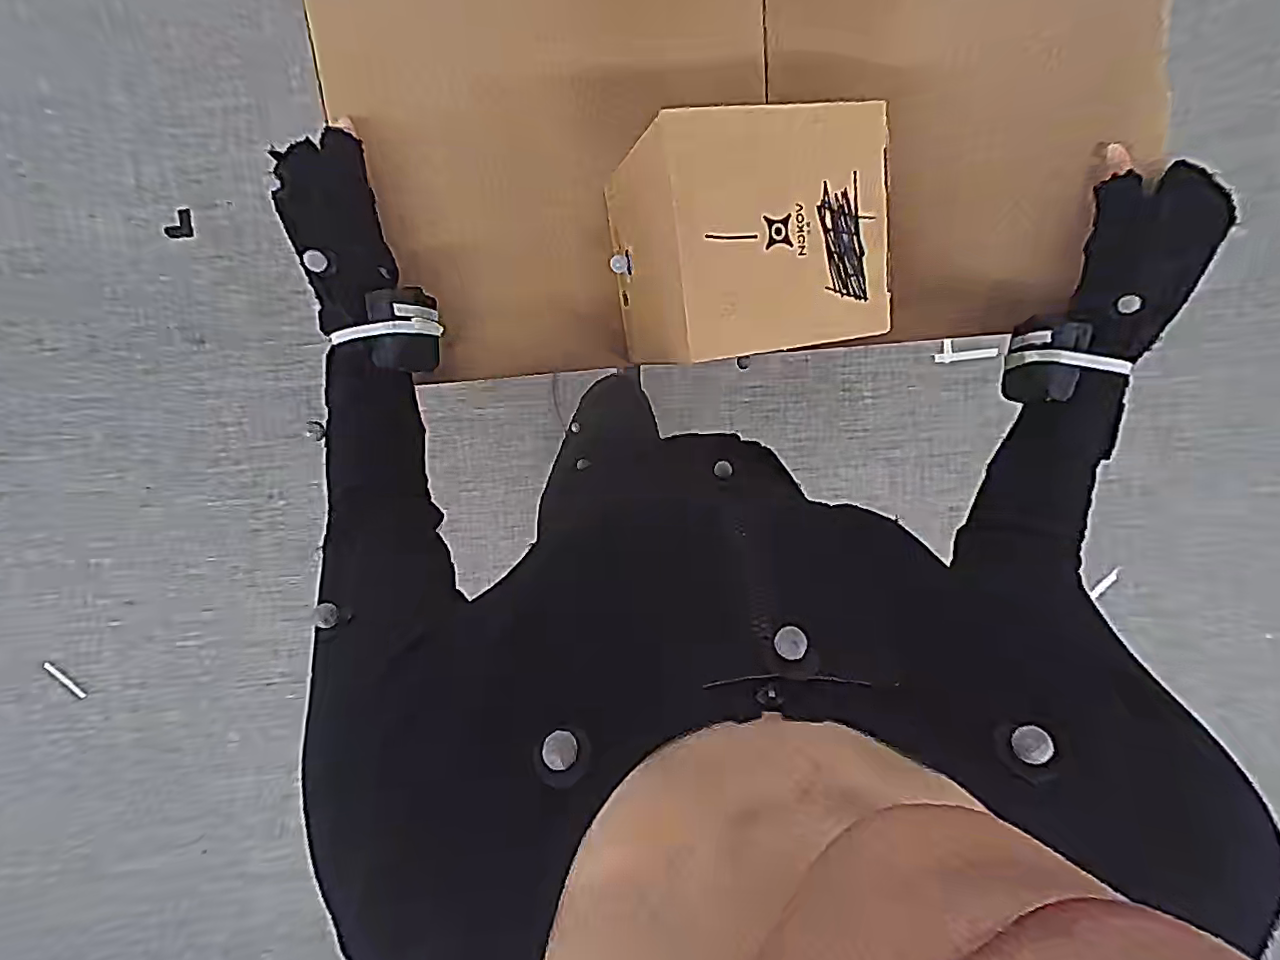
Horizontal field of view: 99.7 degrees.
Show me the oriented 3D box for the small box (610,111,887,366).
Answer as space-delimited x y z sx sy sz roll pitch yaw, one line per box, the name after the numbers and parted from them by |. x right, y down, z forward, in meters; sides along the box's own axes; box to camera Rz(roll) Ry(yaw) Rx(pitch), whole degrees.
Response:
0.086 -0.195 0.472 0.179 0.176 0.168 -12 105 -14 | small box
